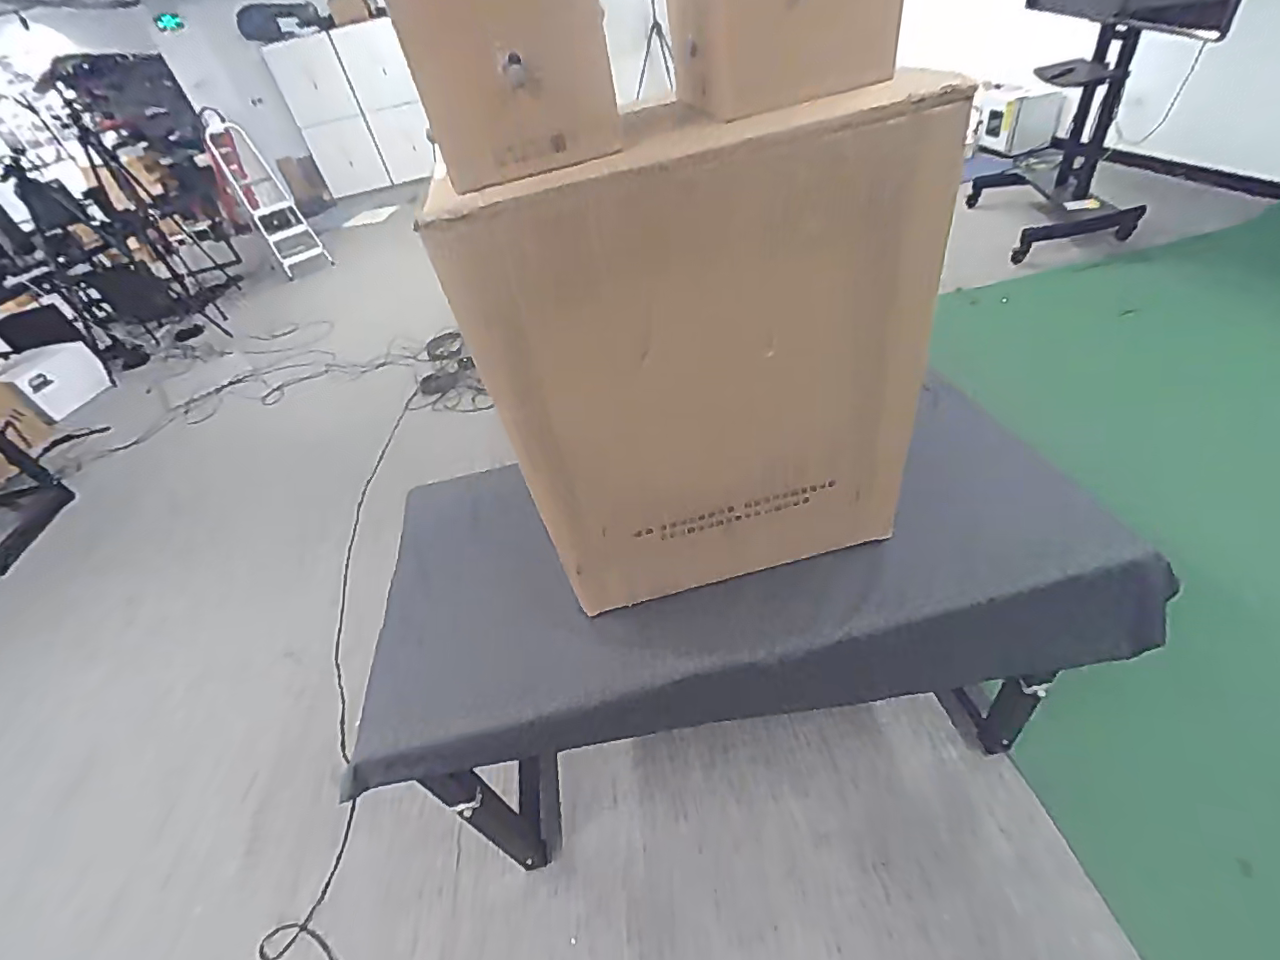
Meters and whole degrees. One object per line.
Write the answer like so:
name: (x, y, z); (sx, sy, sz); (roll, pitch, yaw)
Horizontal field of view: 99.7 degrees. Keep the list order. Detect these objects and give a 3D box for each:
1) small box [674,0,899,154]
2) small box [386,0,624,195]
small box: (0.137, -0.453, 0.543); (0.179, 0.176, 0.168); (-17, 42, -4)
small box: (-0.120, -0.393, 0.518); (0.168, 0.176, 0.179); (-16, 43, -3)
